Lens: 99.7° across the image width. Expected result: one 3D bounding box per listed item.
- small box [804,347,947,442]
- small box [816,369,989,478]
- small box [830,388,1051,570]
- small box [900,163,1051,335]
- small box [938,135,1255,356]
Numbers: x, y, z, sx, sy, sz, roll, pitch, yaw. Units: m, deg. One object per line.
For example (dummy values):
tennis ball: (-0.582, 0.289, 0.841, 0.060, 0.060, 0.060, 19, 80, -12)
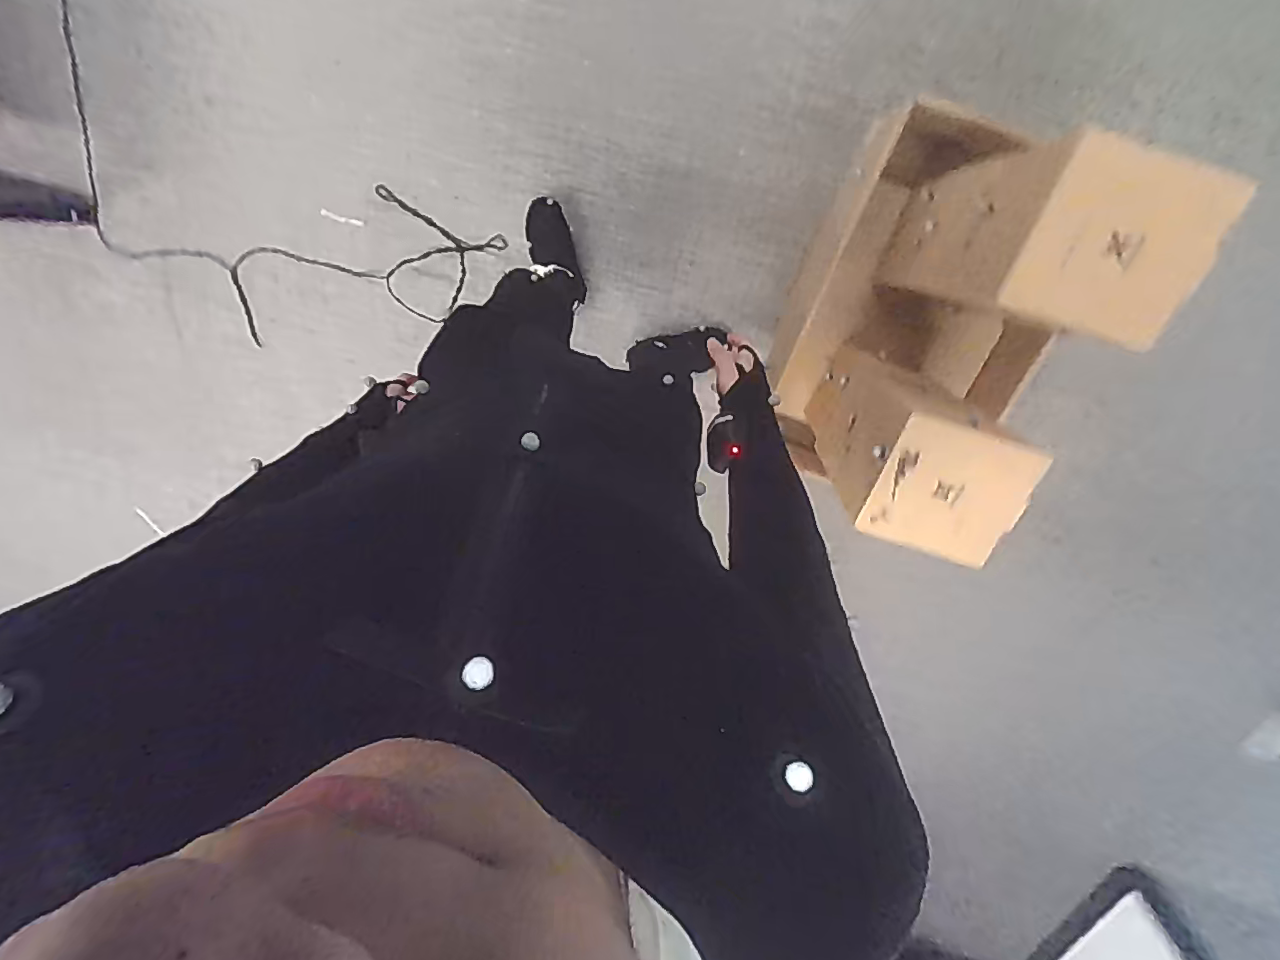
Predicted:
small box: (0.436, -0.139, 1.031, 0.179, 0.176, 0.168, 22, 114, -2)
small box: (0.409, -0.072, 0.883, 0.179, 0.176, 0.168, 18, 114, 0)
small box: (0.385, -0.011, 0.733, 0.179, 0.176, 0.168, 18, 114, 0)
small box: (0.508, -0.322, 0.763, 0.179, 0.176, 0.168, 18, 113, -1)
small box: (0.487, -0.259, 0.614, 0.179, 0.176, 0.168, 19, 113, -1)
